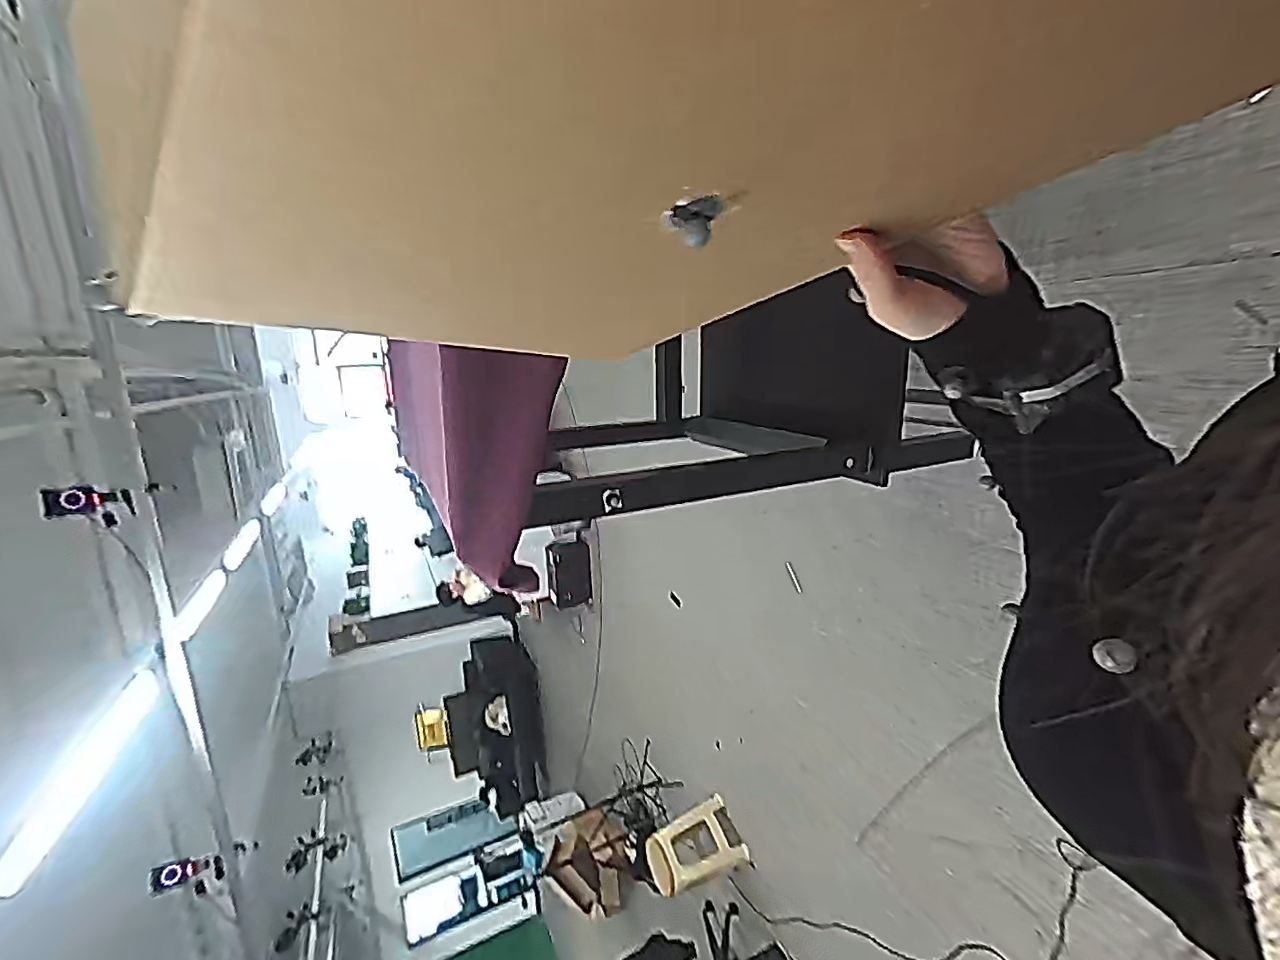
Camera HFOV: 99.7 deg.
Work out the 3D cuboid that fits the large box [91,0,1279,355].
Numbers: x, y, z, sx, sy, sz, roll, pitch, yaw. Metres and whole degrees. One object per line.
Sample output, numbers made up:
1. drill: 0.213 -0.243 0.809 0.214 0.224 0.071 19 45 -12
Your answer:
1. large box: -0.004 -0.267 0.222 0.408 0.320 0.320 -11 86 44
